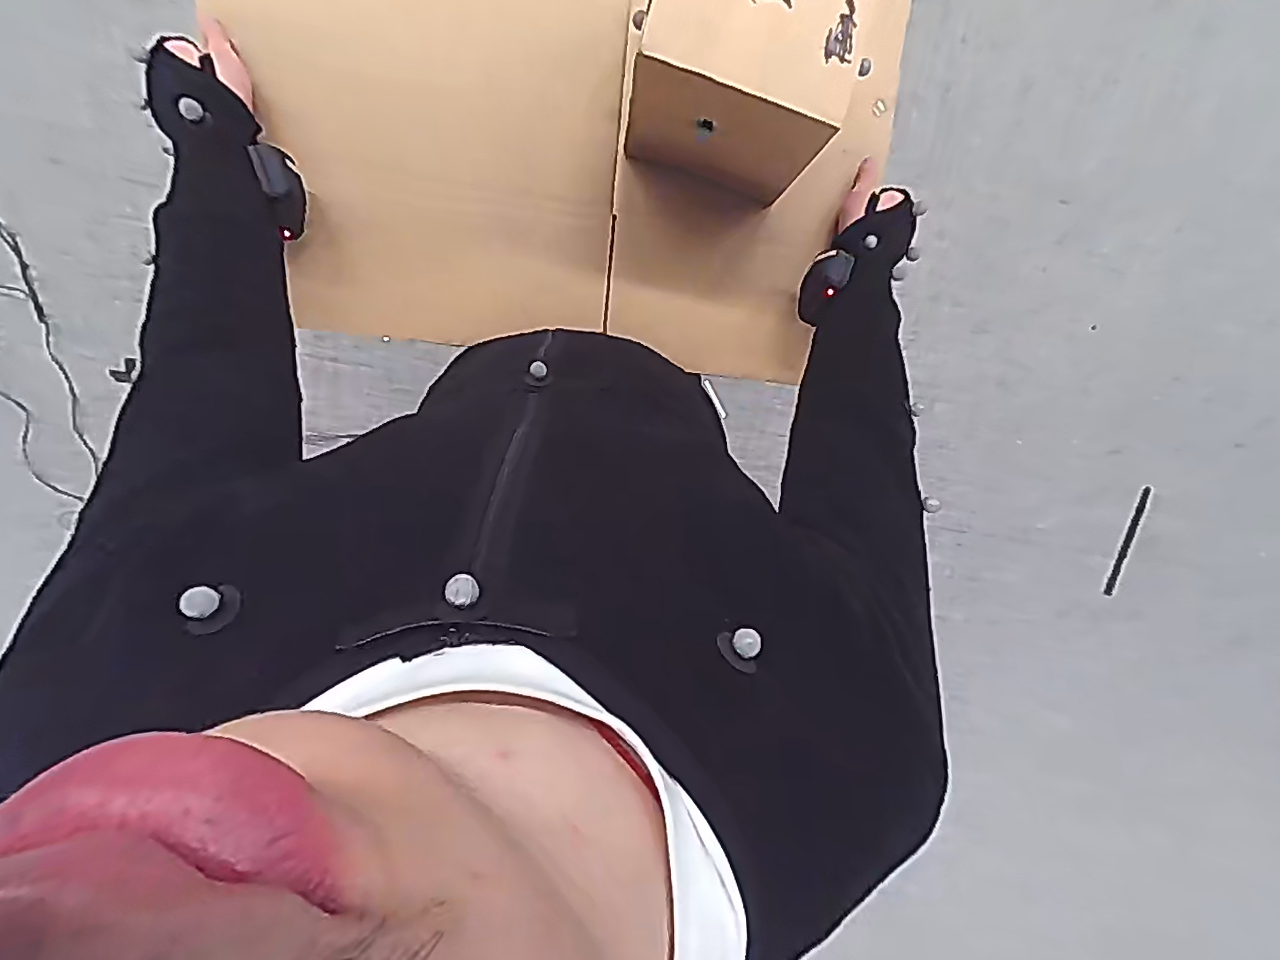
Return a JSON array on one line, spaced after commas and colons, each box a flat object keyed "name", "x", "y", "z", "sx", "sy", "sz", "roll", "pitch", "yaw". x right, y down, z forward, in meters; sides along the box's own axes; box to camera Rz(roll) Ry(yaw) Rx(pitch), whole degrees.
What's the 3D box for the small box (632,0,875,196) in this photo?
[{"name": "small box", "x": 0.096, "y": -0.398, "z": 0.508, "sx": 0.179, "sy": 0.176, "sz": 0.168, "roll": 15, "pitch": 96, "yaw": -6}]
